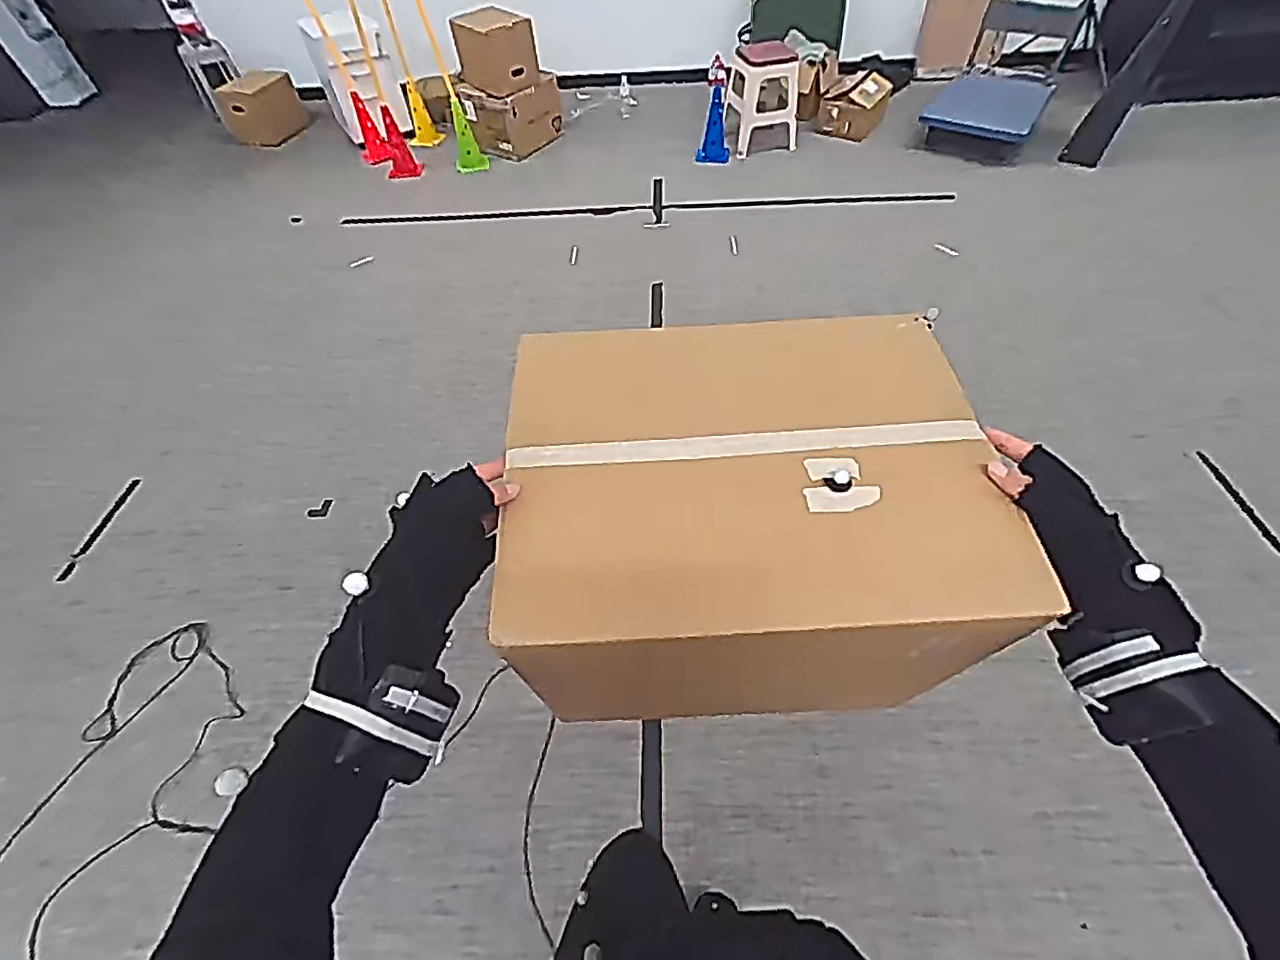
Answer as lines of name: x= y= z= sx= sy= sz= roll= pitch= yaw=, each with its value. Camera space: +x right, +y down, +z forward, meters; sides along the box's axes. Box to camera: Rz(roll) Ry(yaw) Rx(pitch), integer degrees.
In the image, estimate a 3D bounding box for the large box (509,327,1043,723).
large box: x=0.093 y=0.063 z=0.598 sx=0.408 sy=0.320 sz=0.320 roll=-4 pitch=57 yaw=0
